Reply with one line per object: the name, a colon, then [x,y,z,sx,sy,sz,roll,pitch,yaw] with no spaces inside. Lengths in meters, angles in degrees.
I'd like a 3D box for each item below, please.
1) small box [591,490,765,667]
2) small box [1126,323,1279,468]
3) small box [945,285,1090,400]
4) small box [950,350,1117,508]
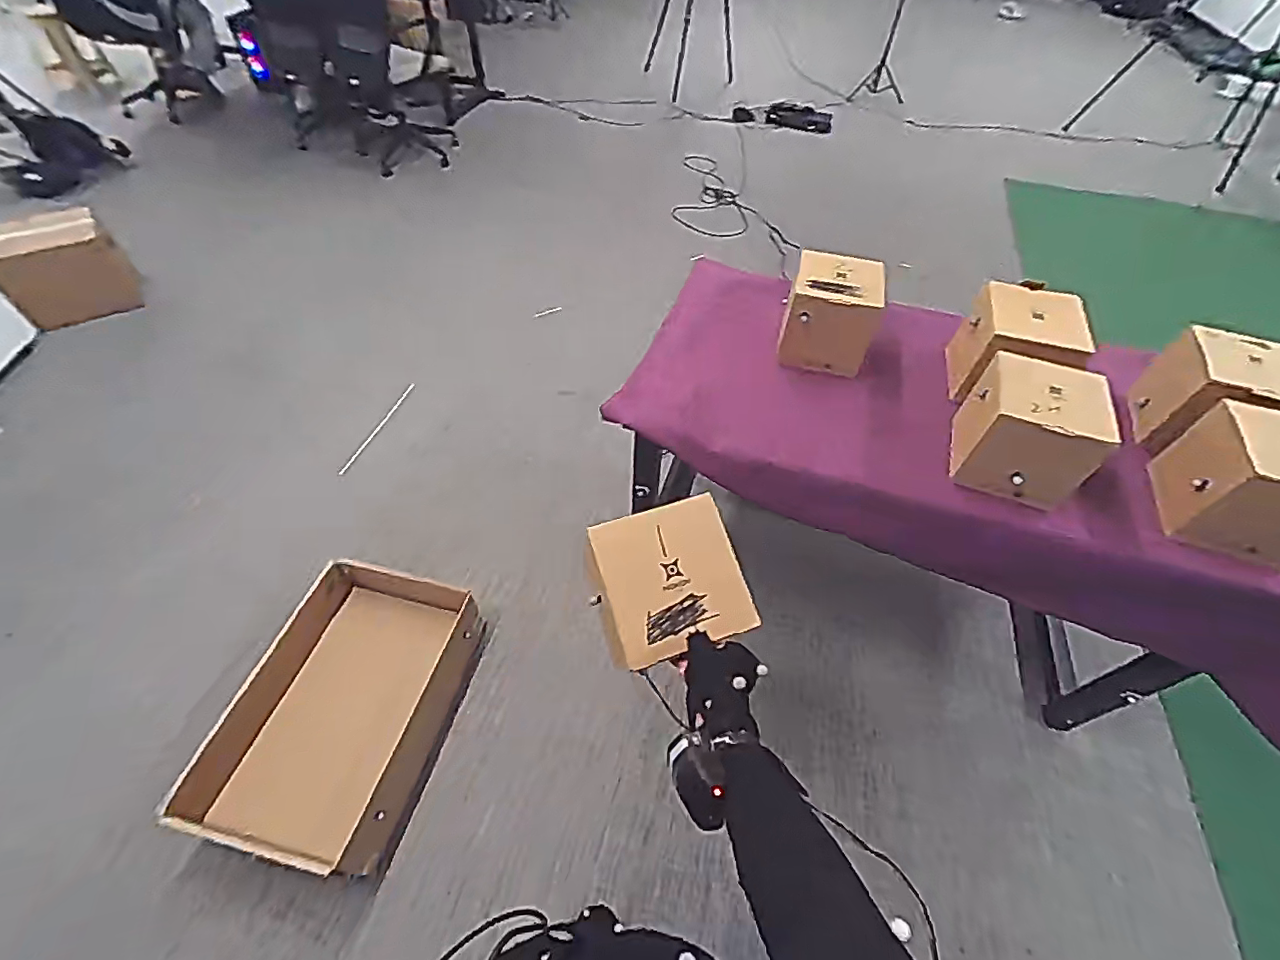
small box: [0.038,0.135,0.716,0.168,0.176,0.179,-15,73,-13]
small box: [1.038,-0.149,0.983,0.168,0.176,0.179,20,54,14]
small box: [0.722,-0.250,1.057,0.168,0.176,0.179,14,52,9]
small box: [0.649,-0.085,0.916,0.168,0.176,0.179,18,52,13]
